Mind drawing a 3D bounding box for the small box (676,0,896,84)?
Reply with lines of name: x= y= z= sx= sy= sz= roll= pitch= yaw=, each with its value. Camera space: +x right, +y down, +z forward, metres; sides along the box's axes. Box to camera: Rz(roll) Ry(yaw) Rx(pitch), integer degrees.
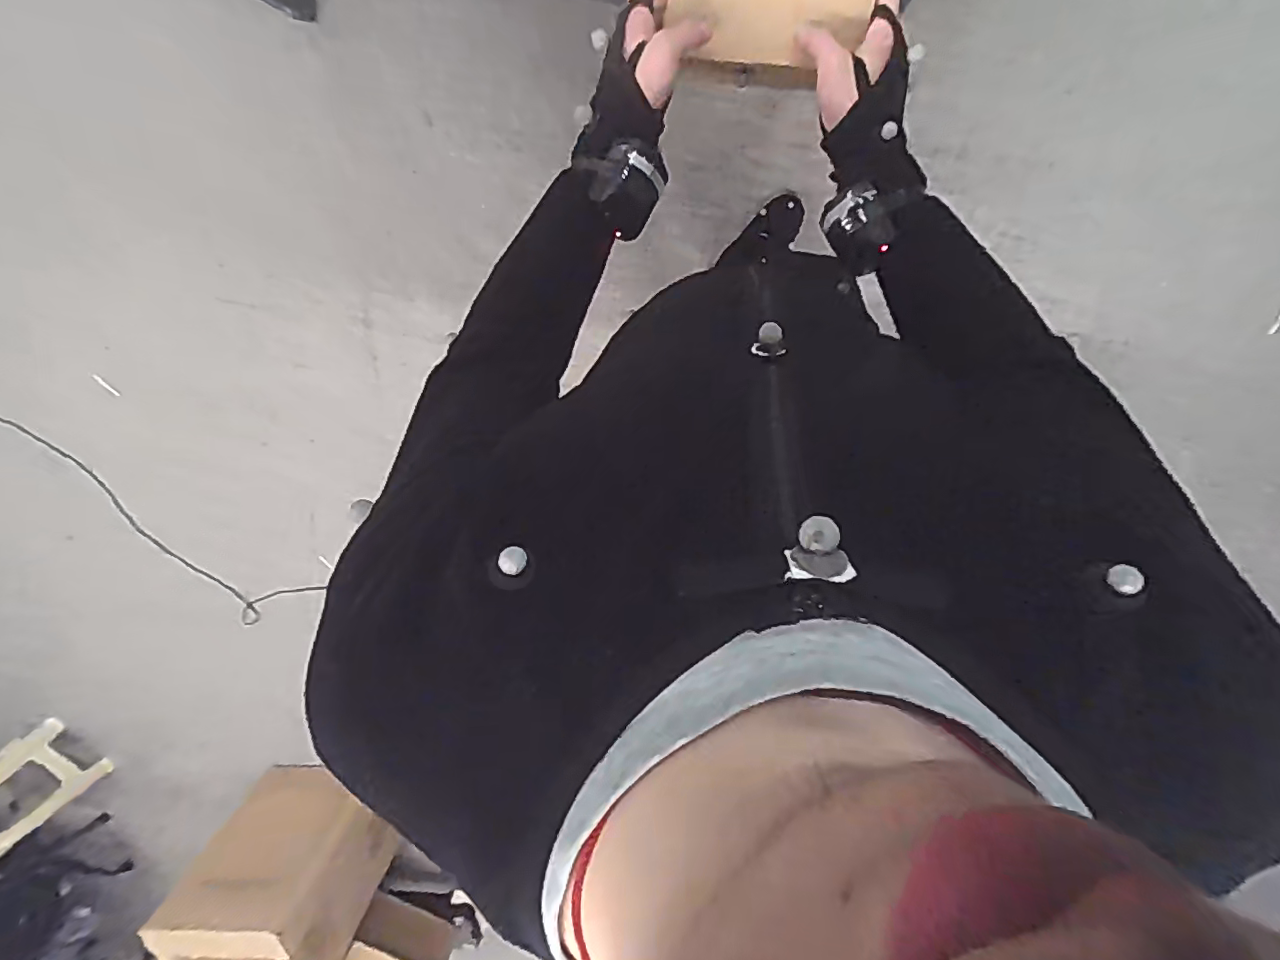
small box: x=0.126 y=-0.468 z=0.480 sx=0.179 sy=0.176 sz=0.168 roll=5 pitch=120 yaw=0
